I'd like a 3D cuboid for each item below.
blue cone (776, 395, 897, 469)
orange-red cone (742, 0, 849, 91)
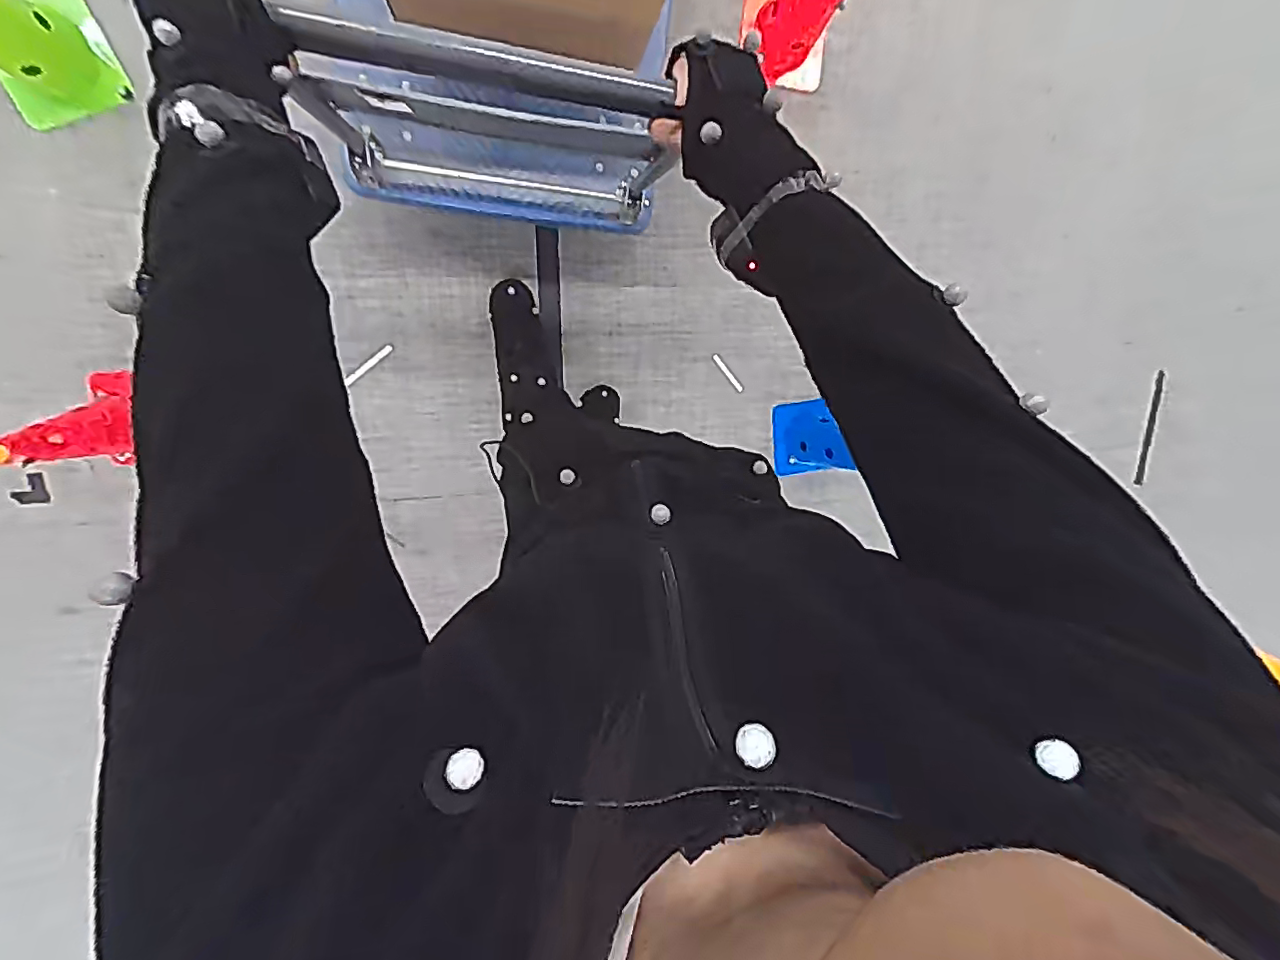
[{"bbox_3d":[0.496,-0.091,1.321,0.193,0.380,0.192,-8,105,-9],"label":"blue cone"},{"bbox_3d":[0.364,-0.948,1.044,0.199,0.360,0.198,3,105,-13],"label":"orange-red cone"}]
